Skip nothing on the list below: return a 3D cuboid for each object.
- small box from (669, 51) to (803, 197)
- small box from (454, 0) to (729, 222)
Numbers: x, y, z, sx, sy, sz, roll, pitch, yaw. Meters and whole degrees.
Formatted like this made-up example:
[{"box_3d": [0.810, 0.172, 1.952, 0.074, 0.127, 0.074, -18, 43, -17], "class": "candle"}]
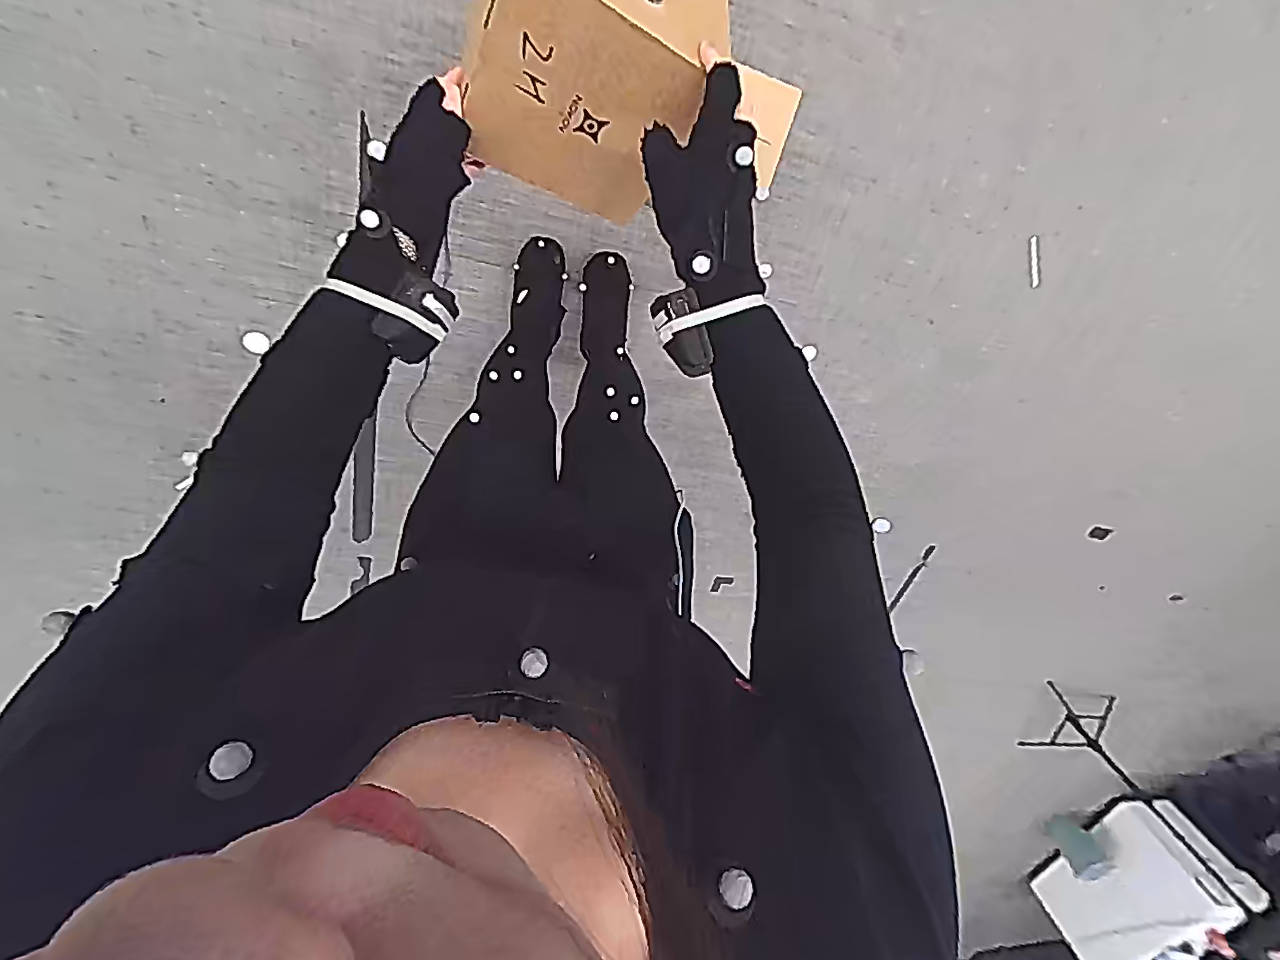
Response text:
[{"box_3d": [0.141, -0.608, 0.935, 0.179, 0.176, 0.168, 8, 120, -18], "class": "small box"}, {"box_3d": [-0.042, -0.372, 0.465, 0.179, 0.176, 0.168, 13, 158, -29], "class": "small box"}]
